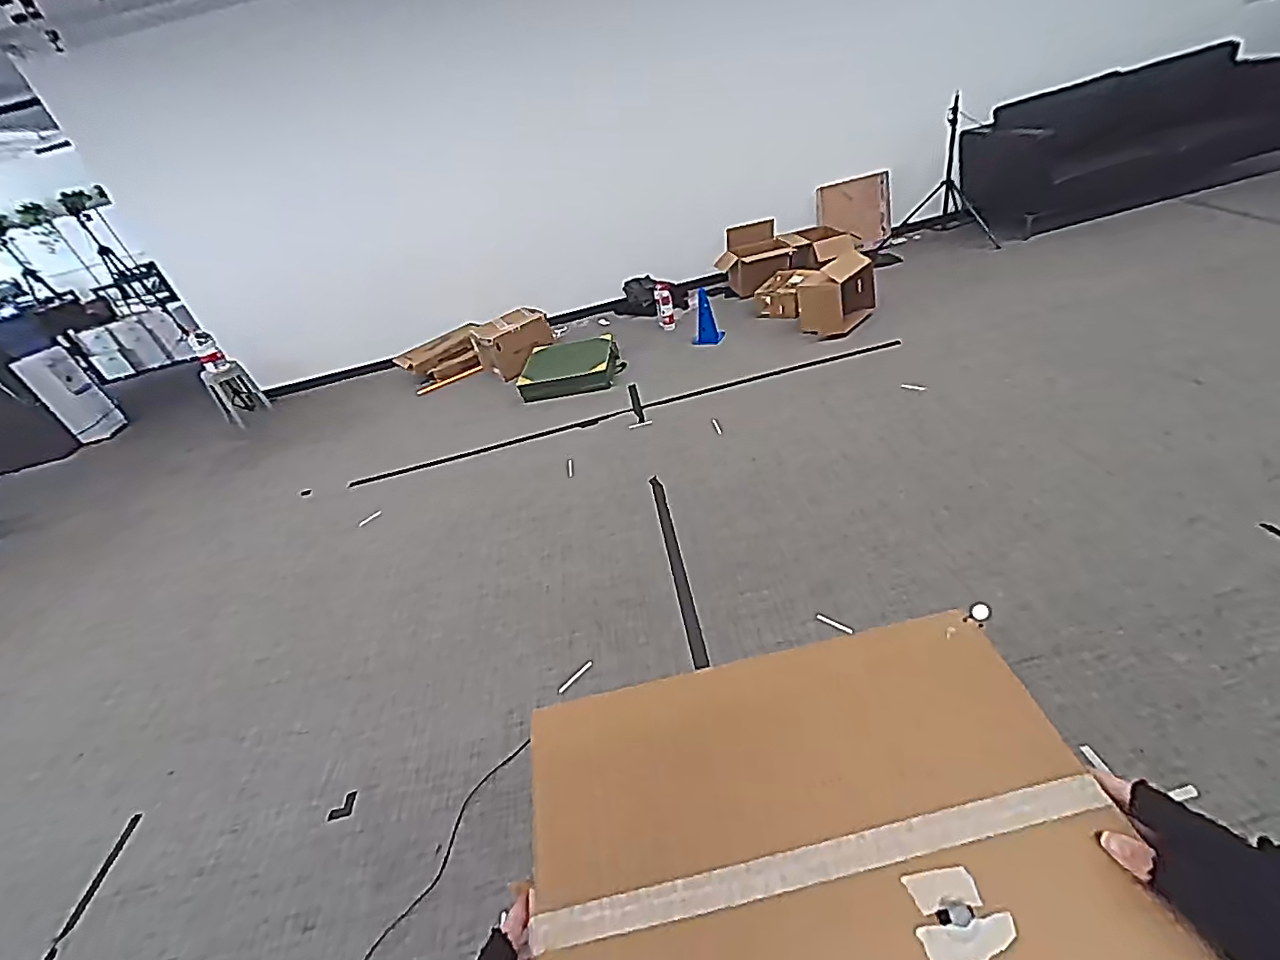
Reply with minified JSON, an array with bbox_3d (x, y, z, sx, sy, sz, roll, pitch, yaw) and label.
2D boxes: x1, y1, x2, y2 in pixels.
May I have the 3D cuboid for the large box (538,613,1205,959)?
[{"bbox_3d":[0.147,0.376,0.487,0.408,0.320,0.320,-12,43,-3],"label":"large box"}]
